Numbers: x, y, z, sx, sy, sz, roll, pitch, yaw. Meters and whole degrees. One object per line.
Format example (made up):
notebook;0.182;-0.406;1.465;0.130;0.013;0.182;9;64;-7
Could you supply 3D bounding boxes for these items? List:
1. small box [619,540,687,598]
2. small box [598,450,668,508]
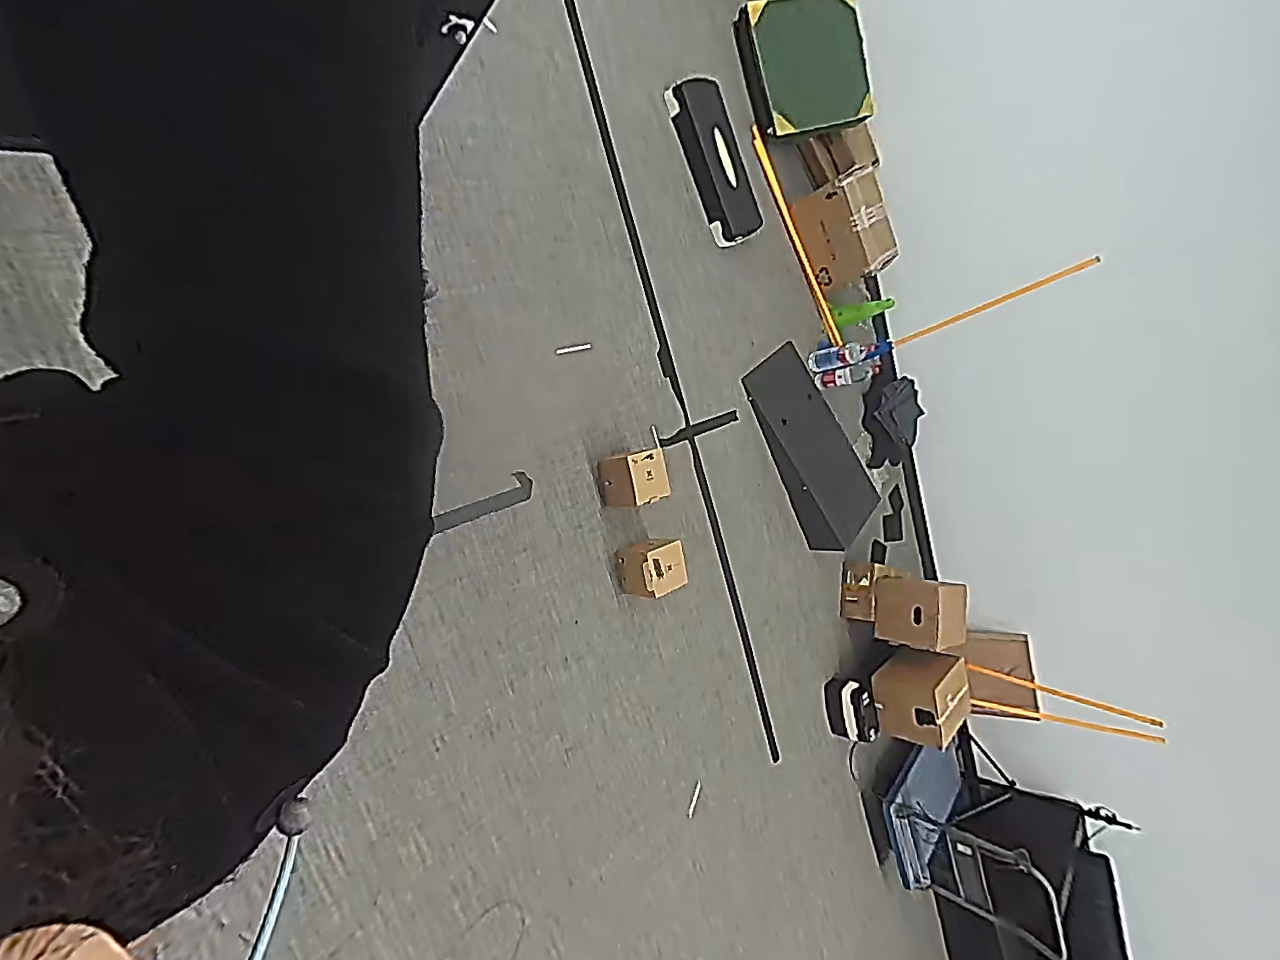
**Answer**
small box;0.041;0.318;1.958;0.179;0.176;0.168;-16;97;-42
small box;-0.026;-0.006;1.922;0.168;0.176;0.179;-17;99;-41
